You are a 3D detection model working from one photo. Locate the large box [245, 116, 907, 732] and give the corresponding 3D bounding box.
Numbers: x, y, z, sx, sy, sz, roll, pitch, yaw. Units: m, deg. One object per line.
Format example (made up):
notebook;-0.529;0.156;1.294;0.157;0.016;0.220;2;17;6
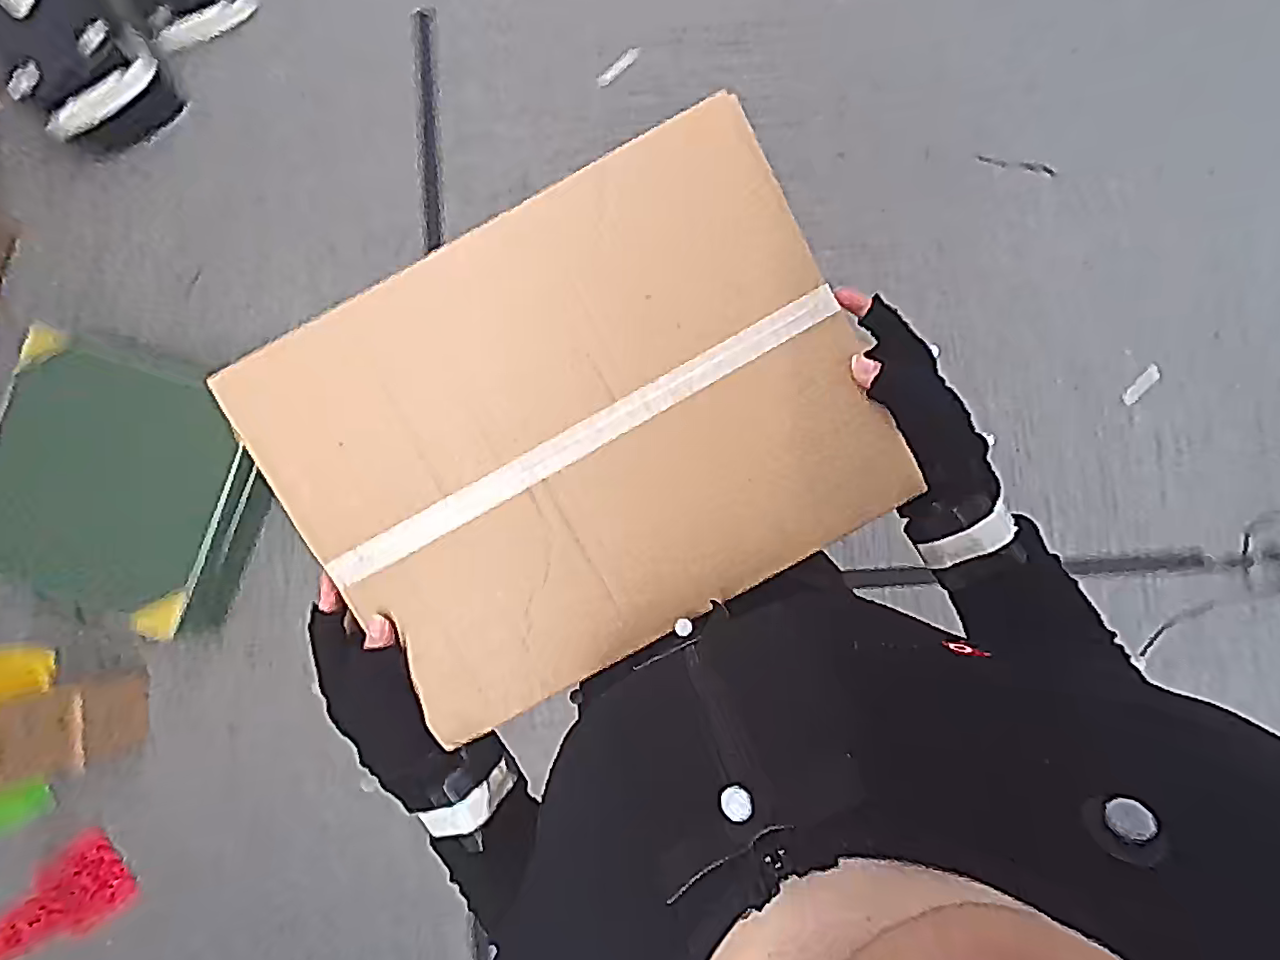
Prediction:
large box;-0.043;-0.047;0.543;0.408;0.320;0.320;-27;96;1
